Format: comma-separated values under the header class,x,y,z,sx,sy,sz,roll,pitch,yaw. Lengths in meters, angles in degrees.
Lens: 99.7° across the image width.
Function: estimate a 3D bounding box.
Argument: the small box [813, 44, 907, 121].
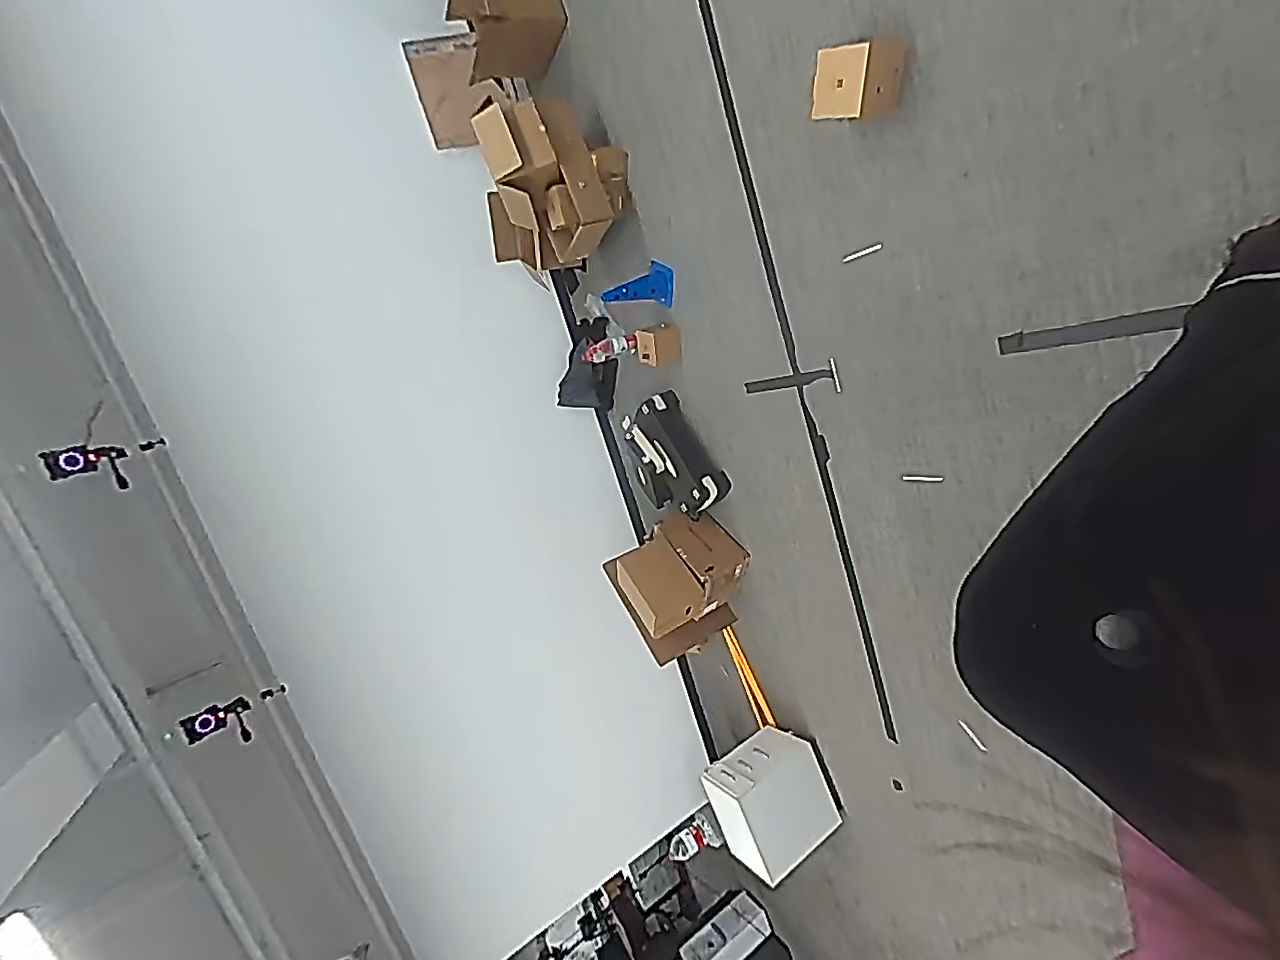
class,x,y,z,sx,sy,sz,roll,pitch,yaw
small box,0.624,-1.125,1.535,0.179,0.176,0.168,39,142,46
